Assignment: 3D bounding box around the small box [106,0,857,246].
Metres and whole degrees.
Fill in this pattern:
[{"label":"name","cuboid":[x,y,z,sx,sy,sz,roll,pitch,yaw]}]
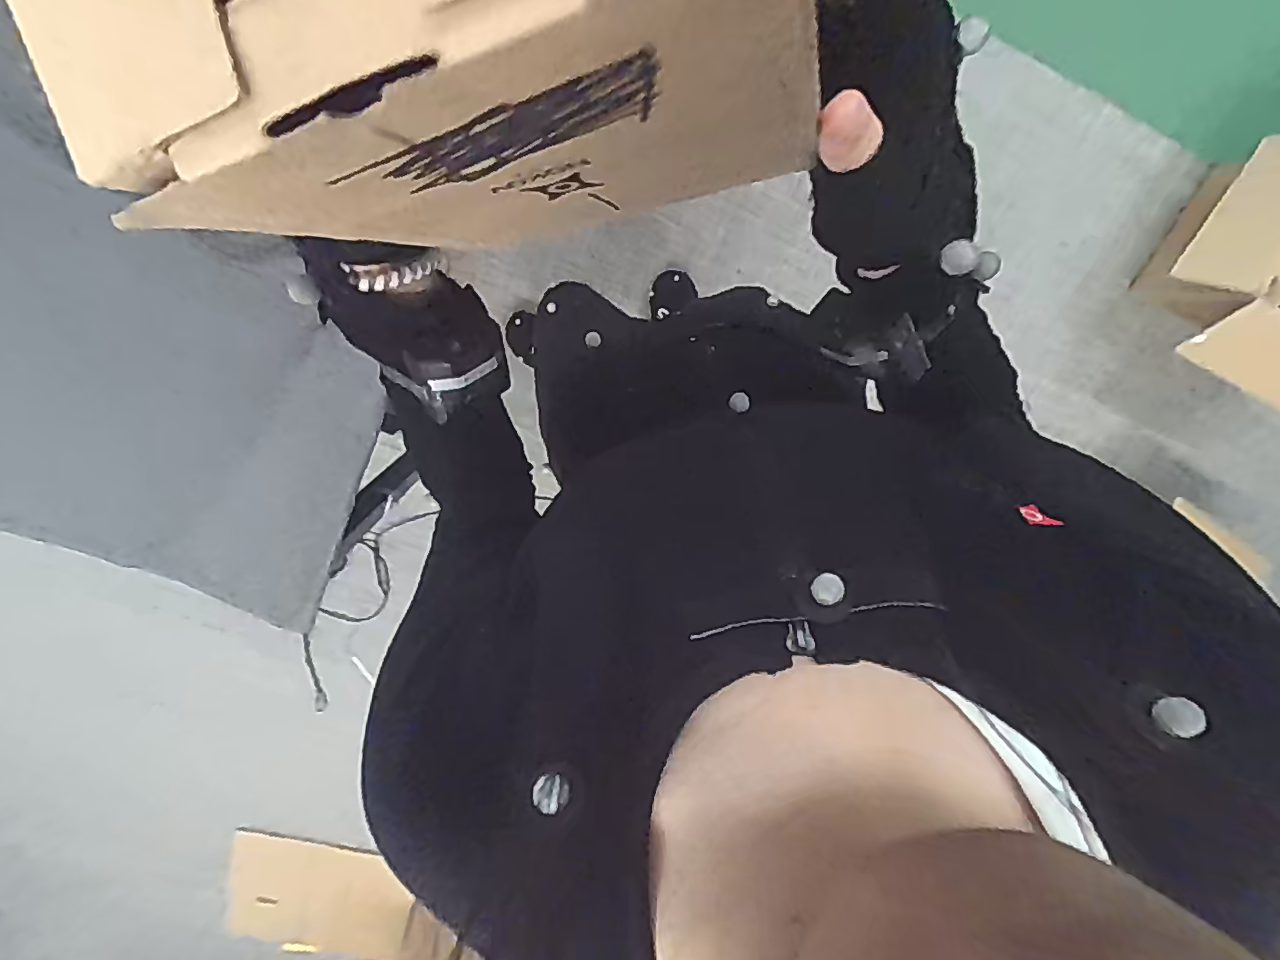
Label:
[{"label":"small box","cuboid":[-0.034,-0.183,0.154,0.168,0.179,0.176,-5,105,20]}]
